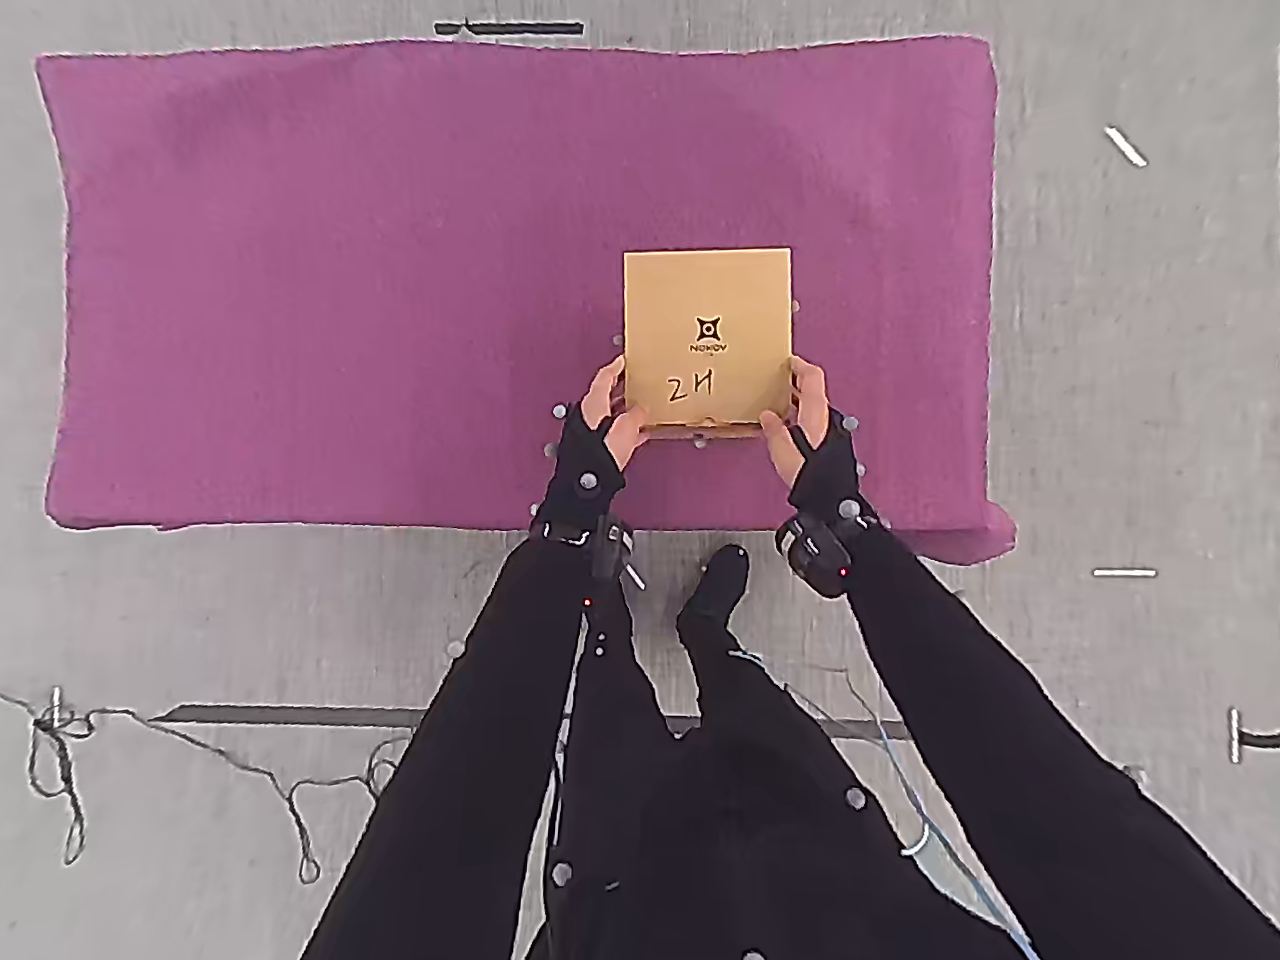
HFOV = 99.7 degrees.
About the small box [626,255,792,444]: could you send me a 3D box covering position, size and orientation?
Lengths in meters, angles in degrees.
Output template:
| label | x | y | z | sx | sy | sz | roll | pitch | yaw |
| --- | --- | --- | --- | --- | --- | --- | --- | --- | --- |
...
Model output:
| label | x | y | z | sx | sy | sz | roll | pitch | yaw |
| --- | --- | --- | --- | --- | --- | --- | --- | --- | --- |
| small box | 0.072 | -0.136 | 0.618 | 0.168 | 0.176 | 0.179 | 0 | 90 | 3 |
